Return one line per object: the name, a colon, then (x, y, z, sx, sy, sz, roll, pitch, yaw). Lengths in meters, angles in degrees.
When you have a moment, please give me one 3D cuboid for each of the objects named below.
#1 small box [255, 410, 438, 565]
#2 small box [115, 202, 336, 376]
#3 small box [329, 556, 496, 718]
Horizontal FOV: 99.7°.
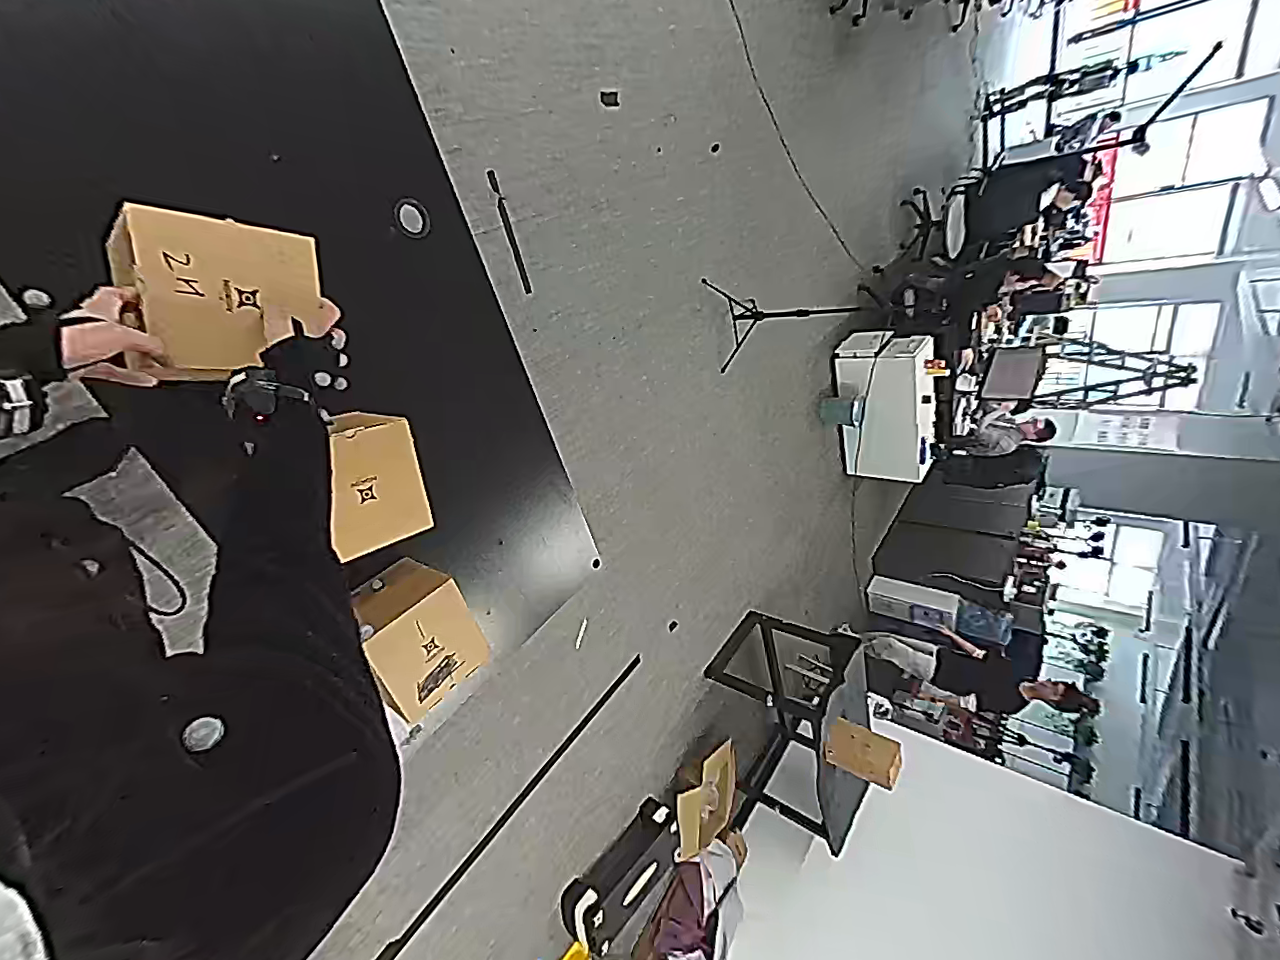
small box: (-0.434, 0.000, 0.803, 0.168, 0.176, 0.179, -27, 116, -43)
small box: (-0.507, -0.217, 0.667, 0.179, 0.176, 0.168, -12, 103, -47)
small box: (-0.381, 0.253, 0.911, 0.168, 0.176, 0.179, -39, 124, -38)
